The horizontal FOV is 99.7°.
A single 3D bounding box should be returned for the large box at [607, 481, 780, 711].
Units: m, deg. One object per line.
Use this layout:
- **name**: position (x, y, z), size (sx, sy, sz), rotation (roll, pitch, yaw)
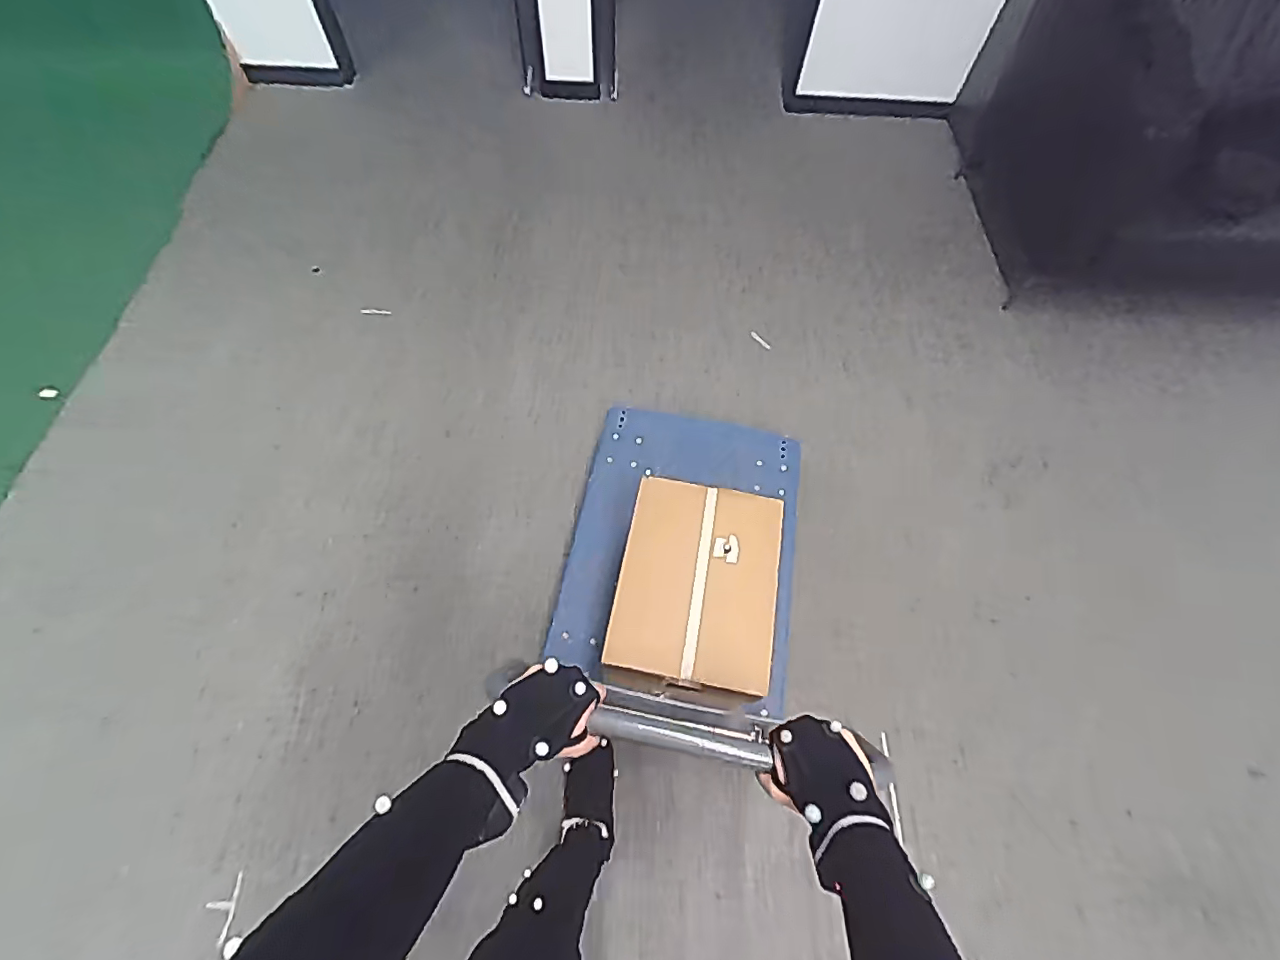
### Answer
- **large box**: position (0.114, 0.269, 1.216), size (0.320, 0.320, 0.408), rotation (11, 61, 2)
